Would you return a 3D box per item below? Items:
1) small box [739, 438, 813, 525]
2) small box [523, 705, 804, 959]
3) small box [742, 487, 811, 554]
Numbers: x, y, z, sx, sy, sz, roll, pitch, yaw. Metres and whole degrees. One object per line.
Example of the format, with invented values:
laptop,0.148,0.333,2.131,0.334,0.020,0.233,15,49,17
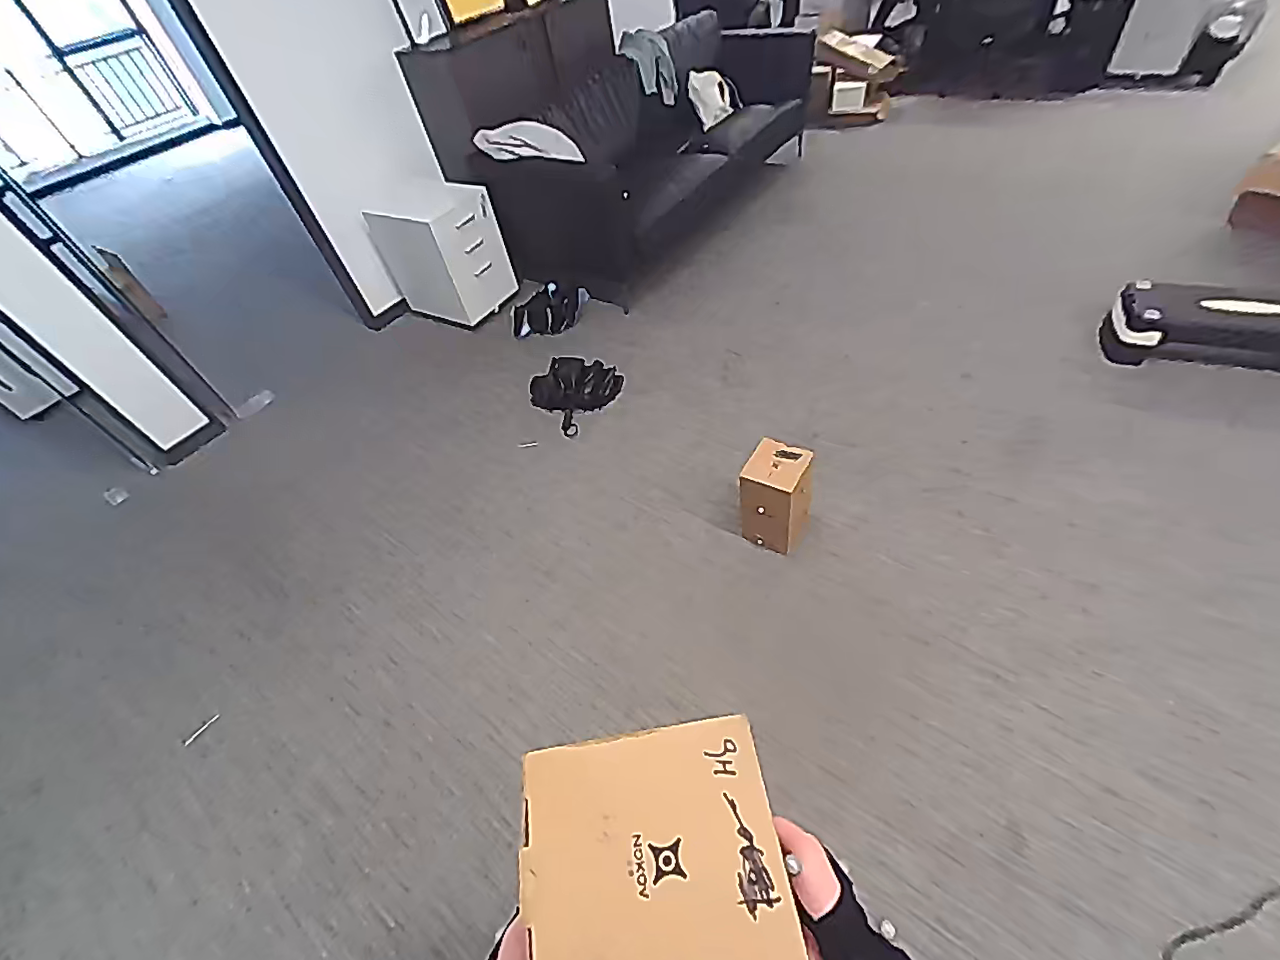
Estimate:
small box,0.417,0.006,1.663,0.168,0.176,0.179,20,56,28
small box,0.012,0.300,0.442,0.179,0.176,0.168,-9,56,-3
small box,0.449,0.110,1.786,0.168,0.176,0.179,20,57,28
